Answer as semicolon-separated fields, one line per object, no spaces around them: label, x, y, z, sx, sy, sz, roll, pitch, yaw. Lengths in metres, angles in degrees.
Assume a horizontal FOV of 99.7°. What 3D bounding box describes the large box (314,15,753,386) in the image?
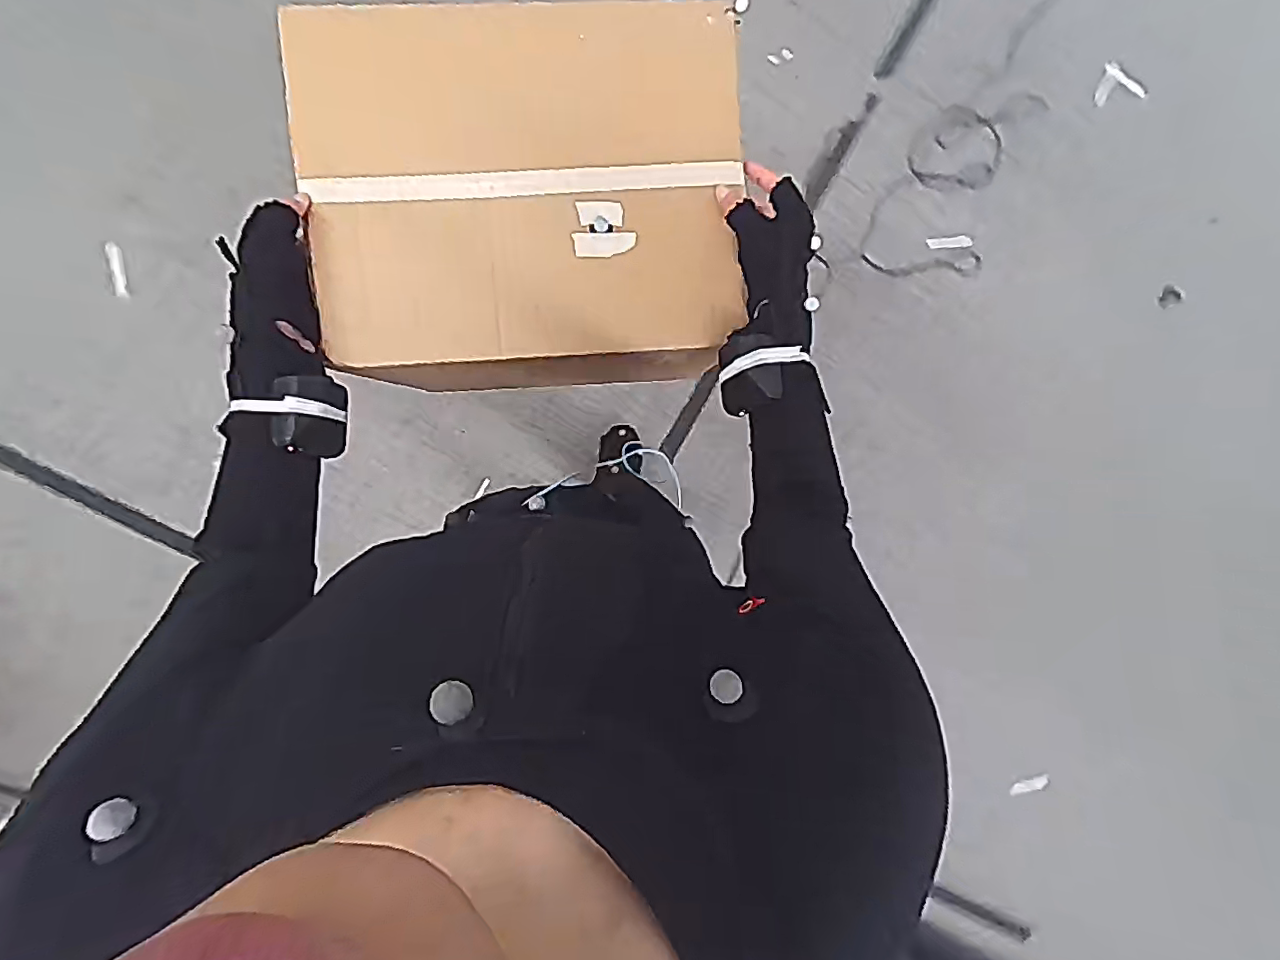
large box;-0.104;-0.292;0.663;0.408;0.320;0.320;-3;96;-4
